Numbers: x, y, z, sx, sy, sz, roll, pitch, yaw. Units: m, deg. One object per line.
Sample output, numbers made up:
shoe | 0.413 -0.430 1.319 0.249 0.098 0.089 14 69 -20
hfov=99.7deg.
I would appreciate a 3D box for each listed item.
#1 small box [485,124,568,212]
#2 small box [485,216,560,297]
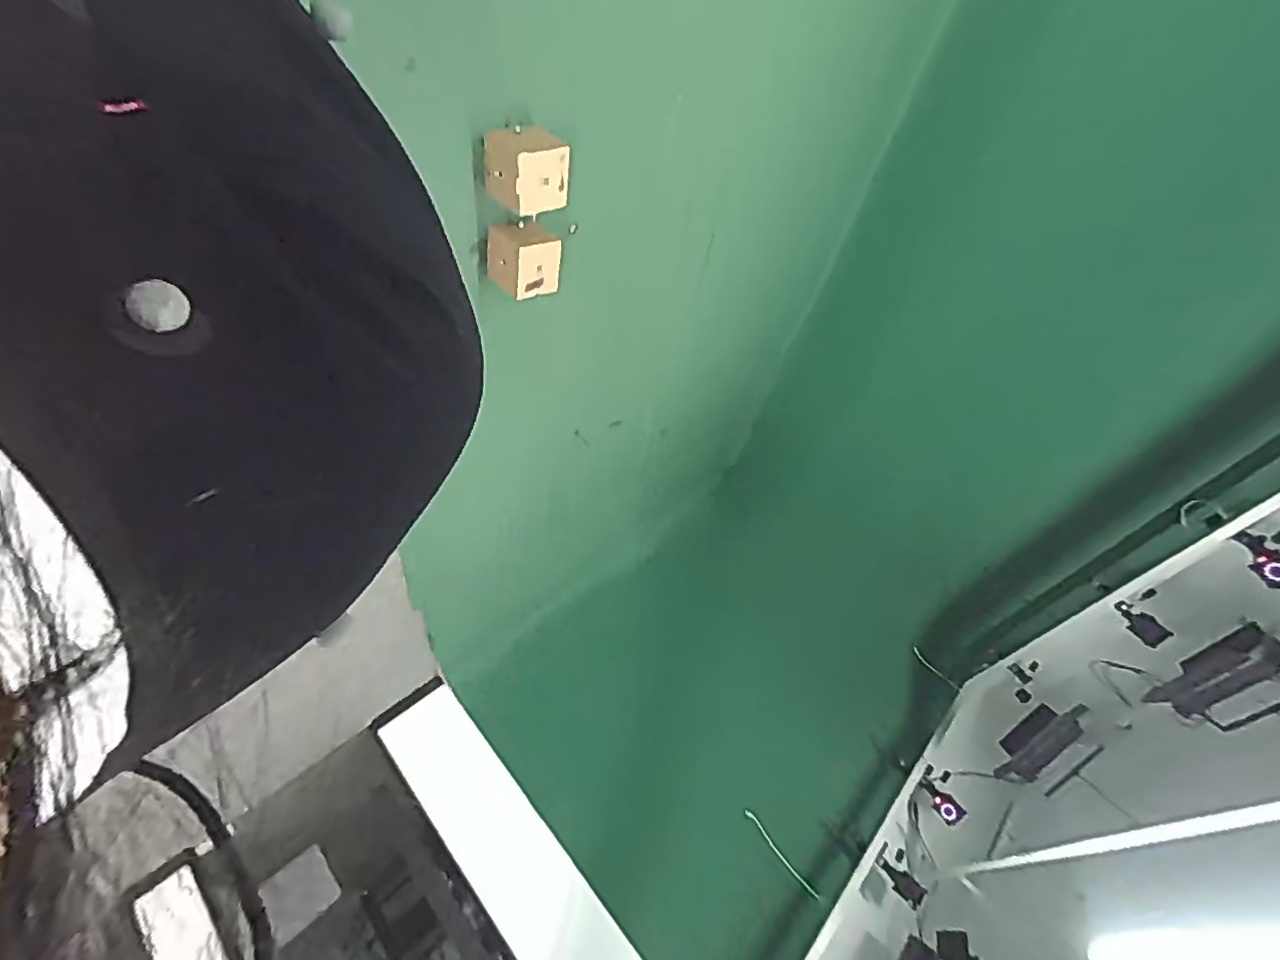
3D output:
small box | -0.330 -0.899 1.551 0.179 0.176 0.168 -30 153 -33
small box | -0.384 -0.725 1.747 0.168 0.176 0.179 -30 152 -36
